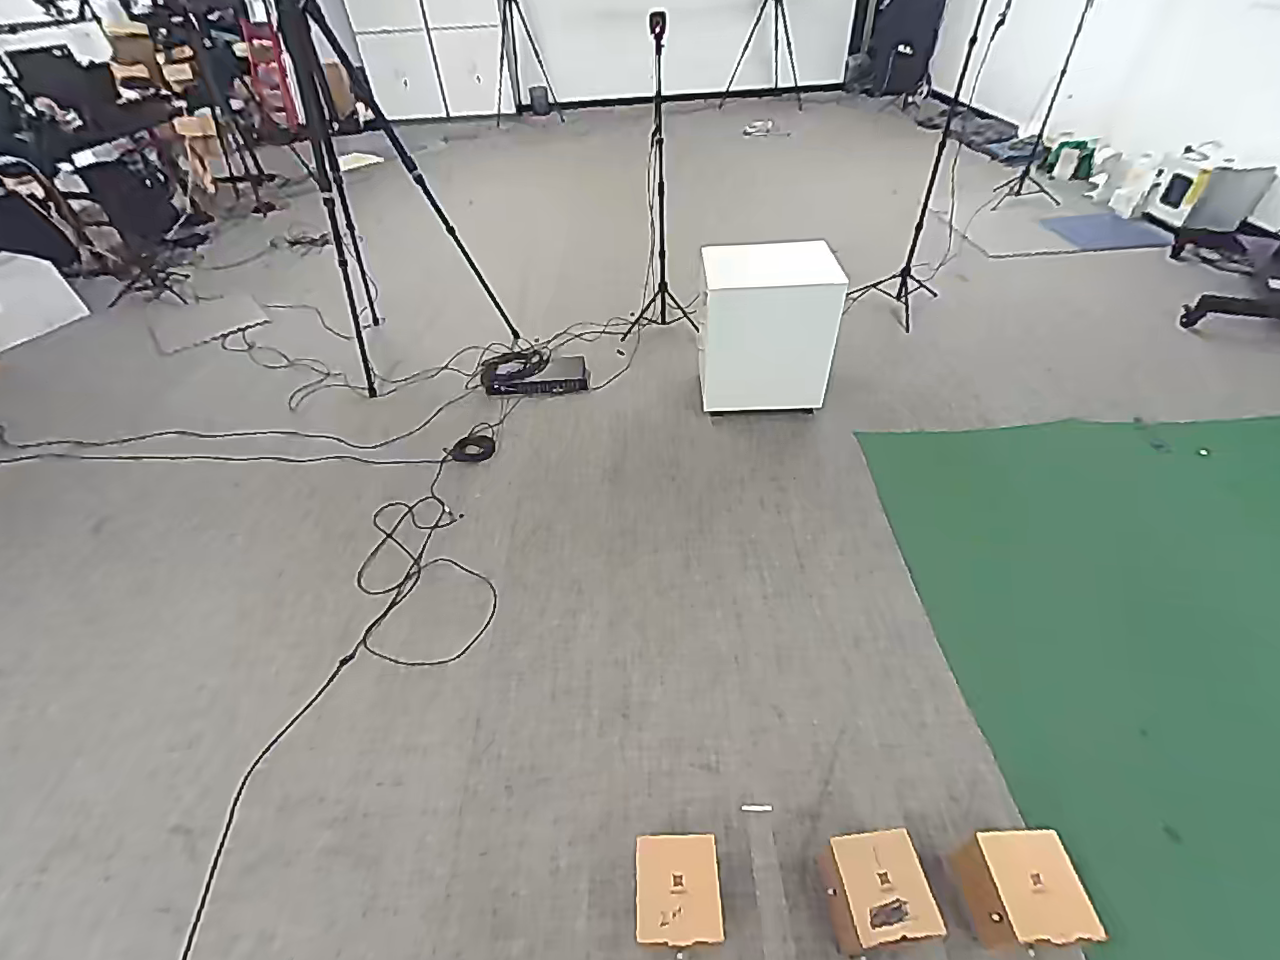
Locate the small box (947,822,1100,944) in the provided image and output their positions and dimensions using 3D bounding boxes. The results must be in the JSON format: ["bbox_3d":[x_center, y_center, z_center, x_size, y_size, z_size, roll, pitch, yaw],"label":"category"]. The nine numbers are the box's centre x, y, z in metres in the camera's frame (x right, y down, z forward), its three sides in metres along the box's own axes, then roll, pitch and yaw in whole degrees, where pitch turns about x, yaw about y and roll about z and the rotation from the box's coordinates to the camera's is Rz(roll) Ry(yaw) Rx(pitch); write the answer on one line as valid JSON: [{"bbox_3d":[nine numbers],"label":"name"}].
[{"bbox_3d":[0.769,0.828,1.112,0.168,0.176,0.179,-3,45,1],"label":"small box"}]

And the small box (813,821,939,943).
[{"bbox_3d":[0.476,0.835,1.119,0.168,0.176,0.179,-5,44,-3],"label":"small box"}]

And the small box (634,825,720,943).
[{"bbox_3d":[0.074,0.844,1.130,0.168,0.176,0.179,-2,45,2],"label":"small box"}]
